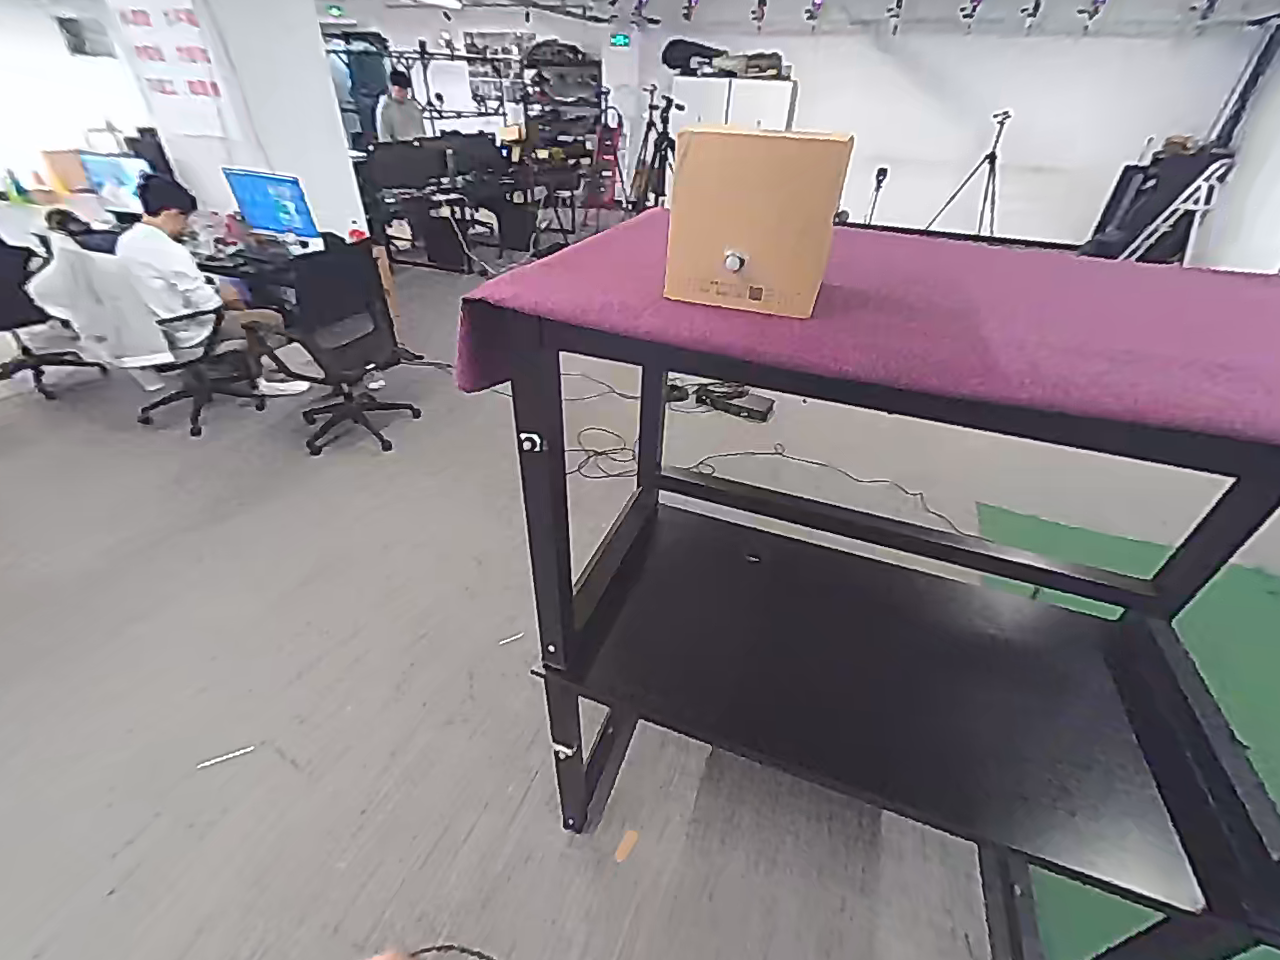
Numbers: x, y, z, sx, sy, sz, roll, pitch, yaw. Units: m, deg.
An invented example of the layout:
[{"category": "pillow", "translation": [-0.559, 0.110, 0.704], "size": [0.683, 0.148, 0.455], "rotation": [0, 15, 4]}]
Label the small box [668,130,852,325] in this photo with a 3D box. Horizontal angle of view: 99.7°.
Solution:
[{"category": "small box", "translation": [0.135, -0.295, 0.621], "size": [0.168, 0.176, 0.179], "rotation": [13, 37, 15]}]
